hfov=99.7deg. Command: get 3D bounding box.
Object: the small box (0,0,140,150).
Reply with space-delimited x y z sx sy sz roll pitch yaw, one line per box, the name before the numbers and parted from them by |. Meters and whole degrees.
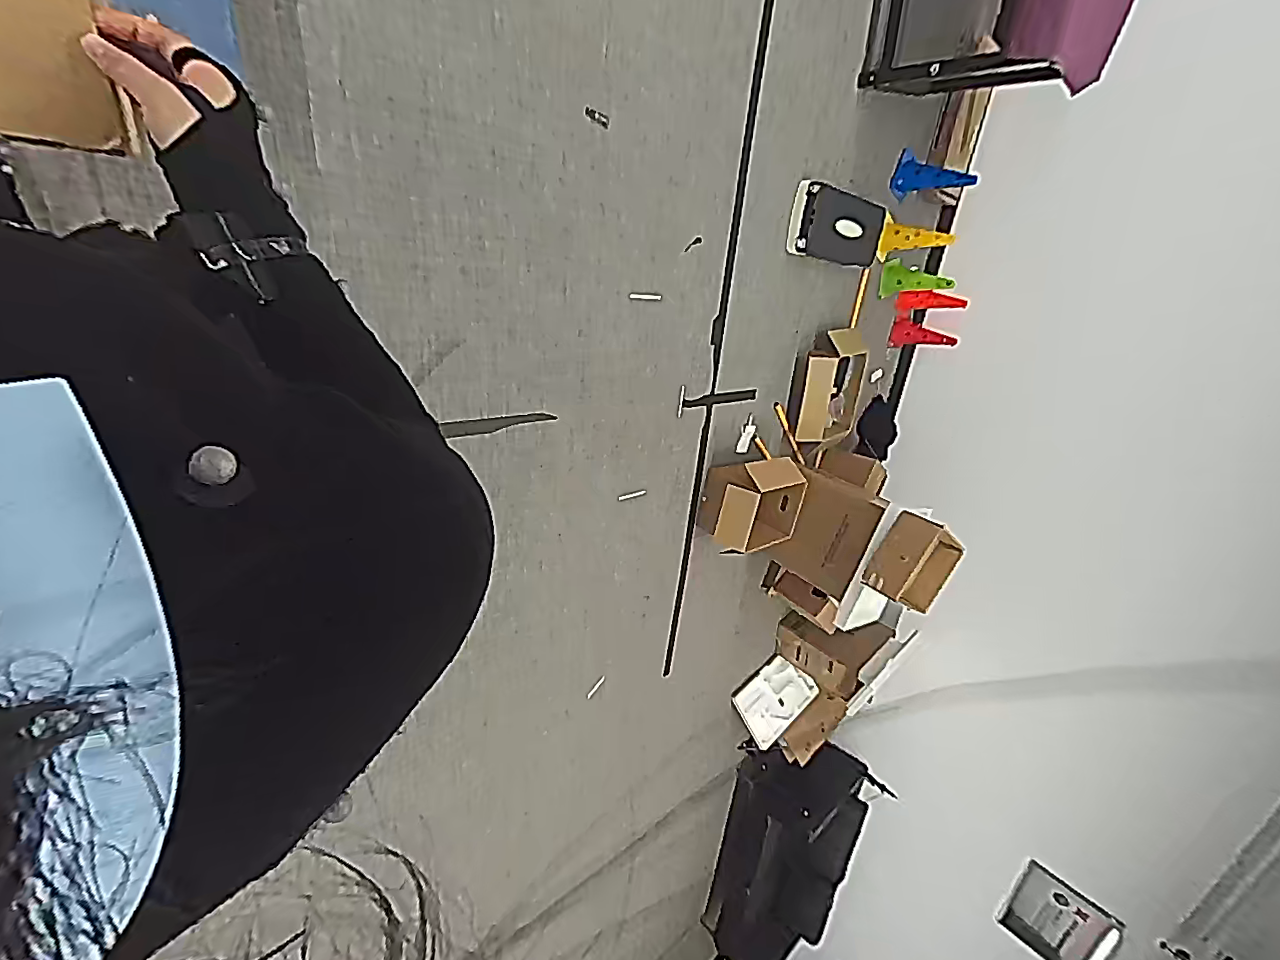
small box | -0.462 -0.338 0.360 0.168 0.176 0.179 -10 123 -36
